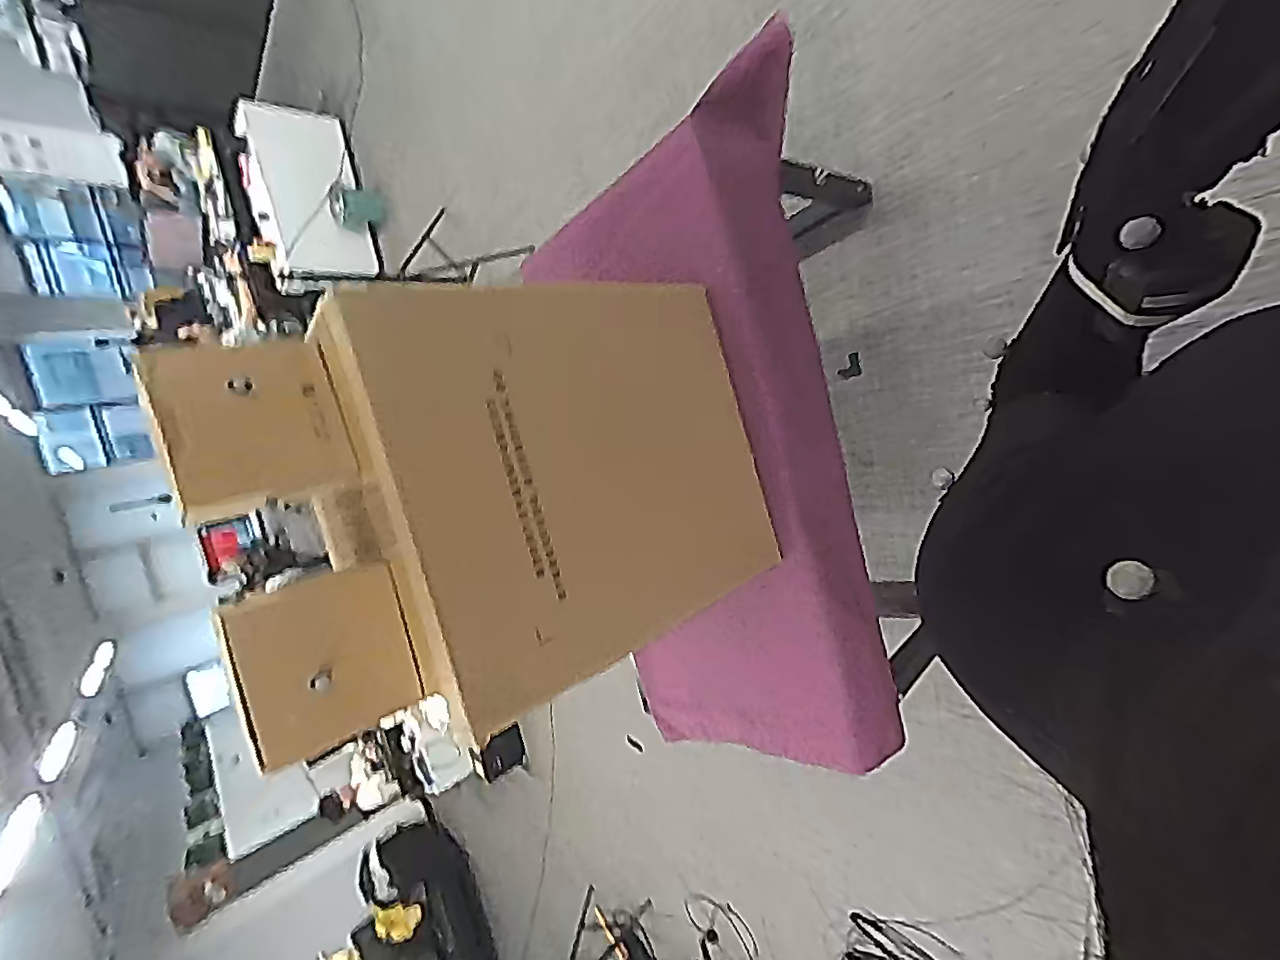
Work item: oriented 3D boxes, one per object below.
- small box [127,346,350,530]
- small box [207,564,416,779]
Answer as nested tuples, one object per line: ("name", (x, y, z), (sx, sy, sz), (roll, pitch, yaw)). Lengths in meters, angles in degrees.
("small box", (-0.468, -0.050, 0.645), (0.179, 0.176, 0.168), (-16, 92, 50))
("small box", (-0.393, 0.212, 0.655), (0.168, 0.176, 0.179), (-11, 95, 48))
